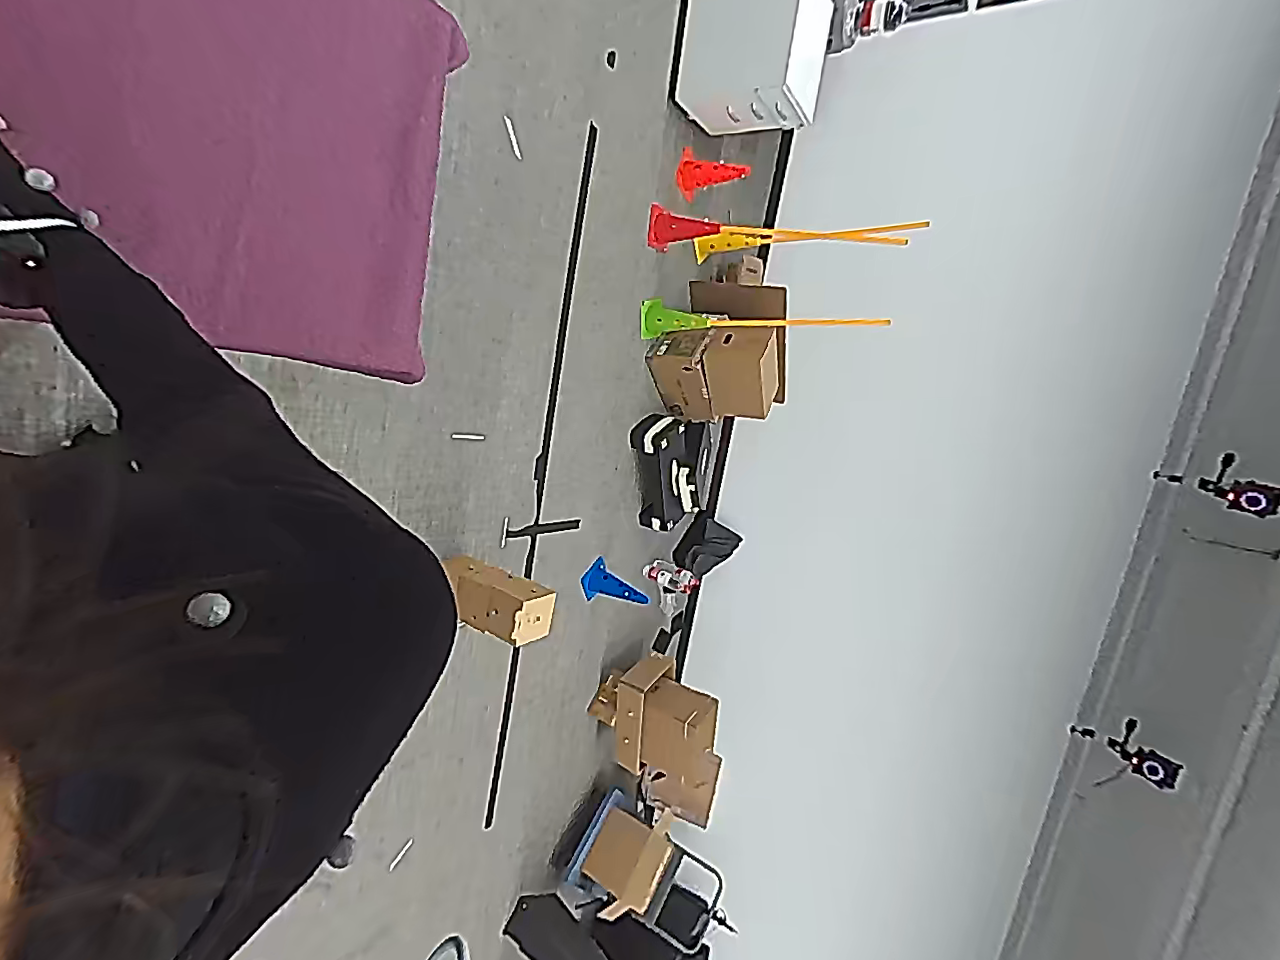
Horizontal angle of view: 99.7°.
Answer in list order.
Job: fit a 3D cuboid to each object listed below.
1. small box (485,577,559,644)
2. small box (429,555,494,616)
[{"bbox_3d":[-0.420,0.456,1.923,0.179,0.176,0.168,0,104,-58],"label":"small box"},{"bbox_3d":[-0.695,0.404,2.101,0.179,0.176,0.168,-10,112,-57],"label":"small box"}]
